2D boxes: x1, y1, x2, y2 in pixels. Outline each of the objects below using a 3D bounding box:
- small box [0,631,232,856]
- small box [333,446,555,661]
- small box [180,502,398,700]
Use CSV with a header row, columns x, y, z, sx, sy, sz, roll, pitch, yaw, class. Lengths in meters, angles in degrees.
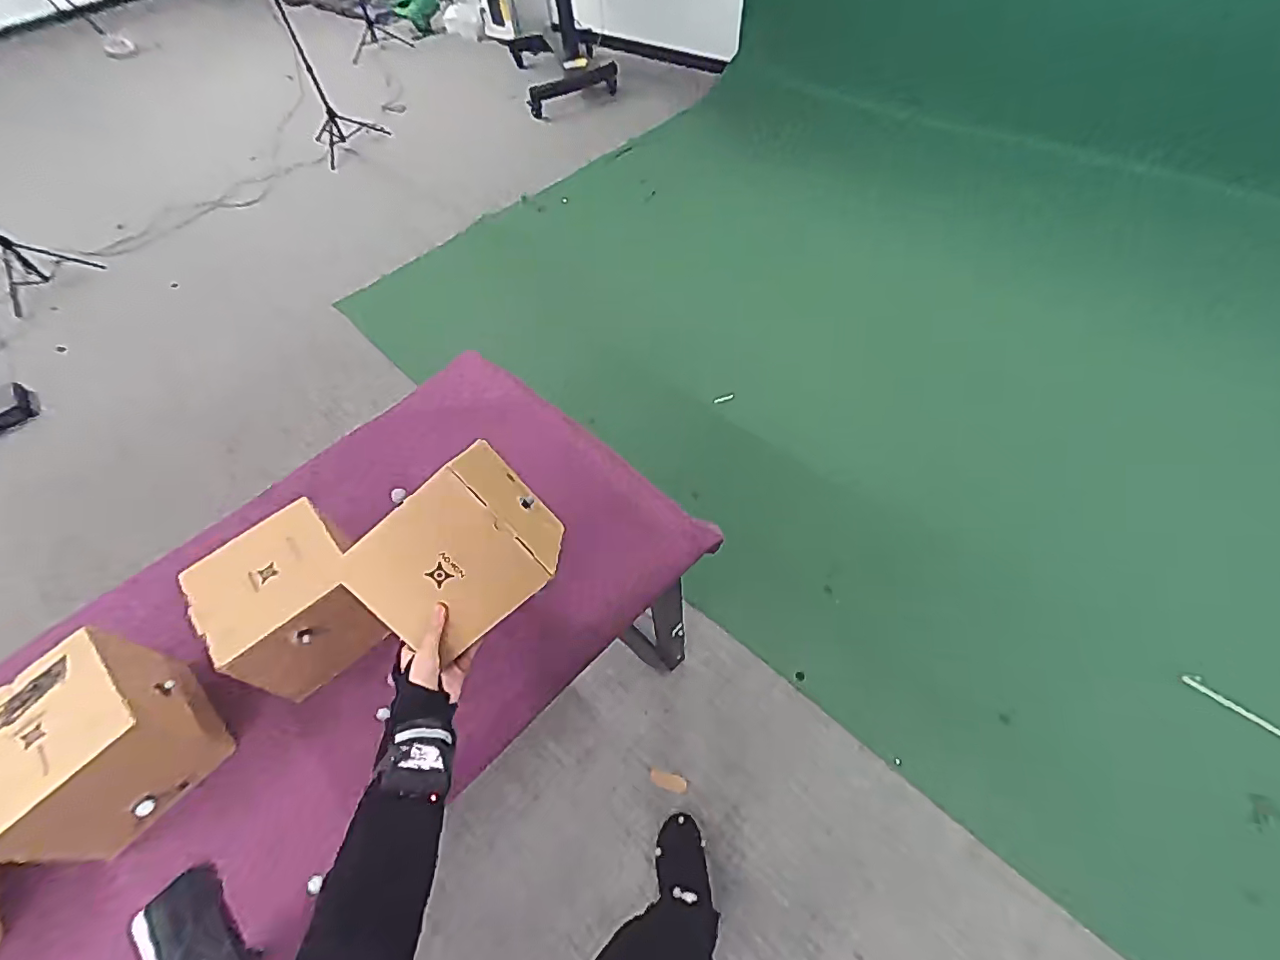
x,y,z,sx,sy,sz,roll,pitch,yaw,class
-0.657,0.323,0.655,0.179,0.176,0.168,34,64,25,small box
-0.221,0.078,0.667,0.179,0.176,0.168,-40,101,3,small box
-0.467,0.171,0.748,0.179,0.176,0.168,-37,60,-20,small box
